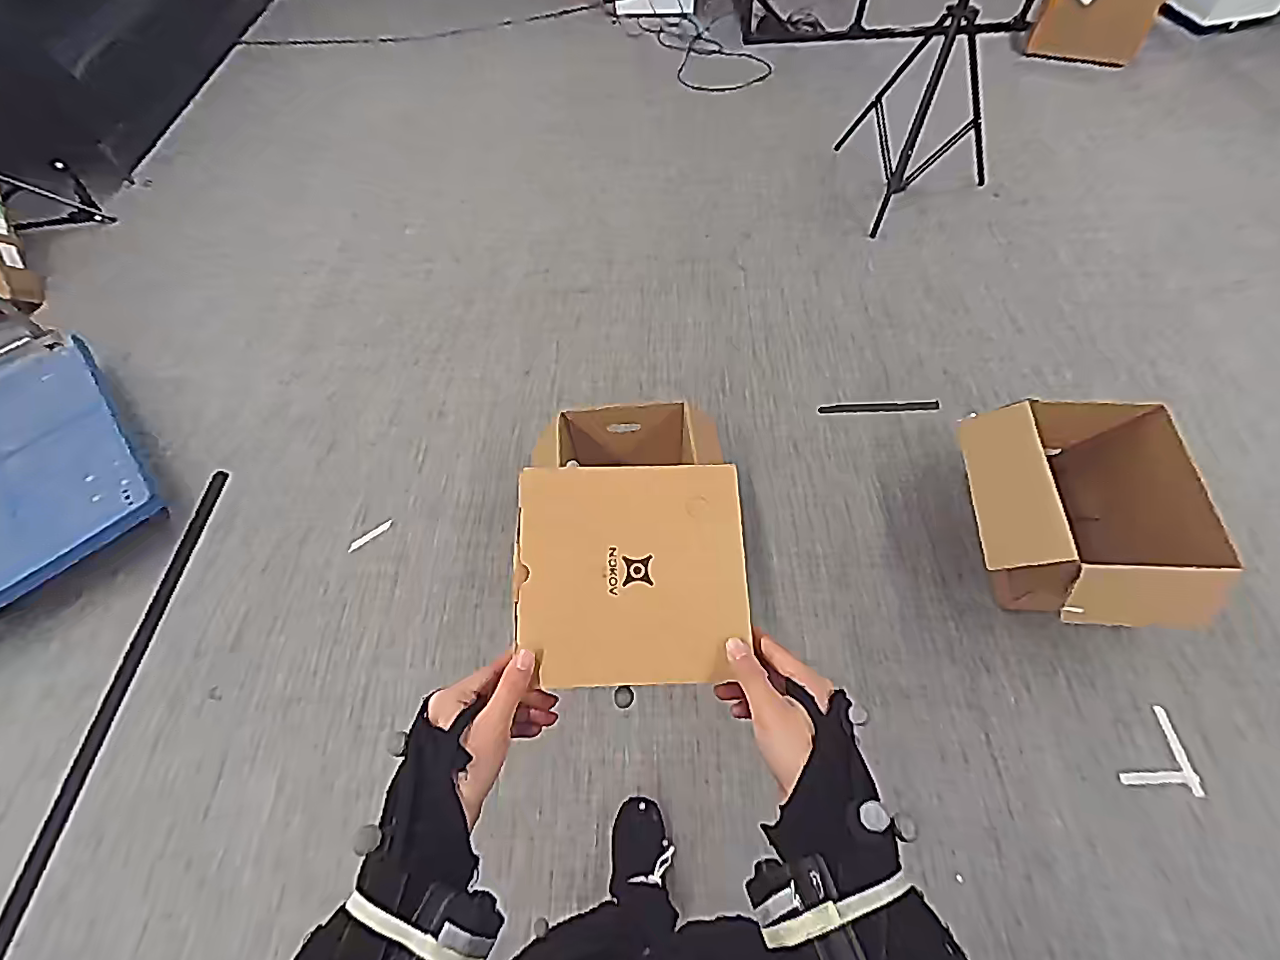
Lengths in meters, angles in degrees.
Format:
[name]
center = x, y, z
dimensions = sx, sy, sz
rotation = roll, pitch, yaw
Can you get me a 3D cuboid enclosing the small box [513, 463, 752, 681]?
[small box]
center = -0.008, 0.088, 0.488
dimensions = 0.179, 0.176, 0.168
rotation = -2, 72, -1
